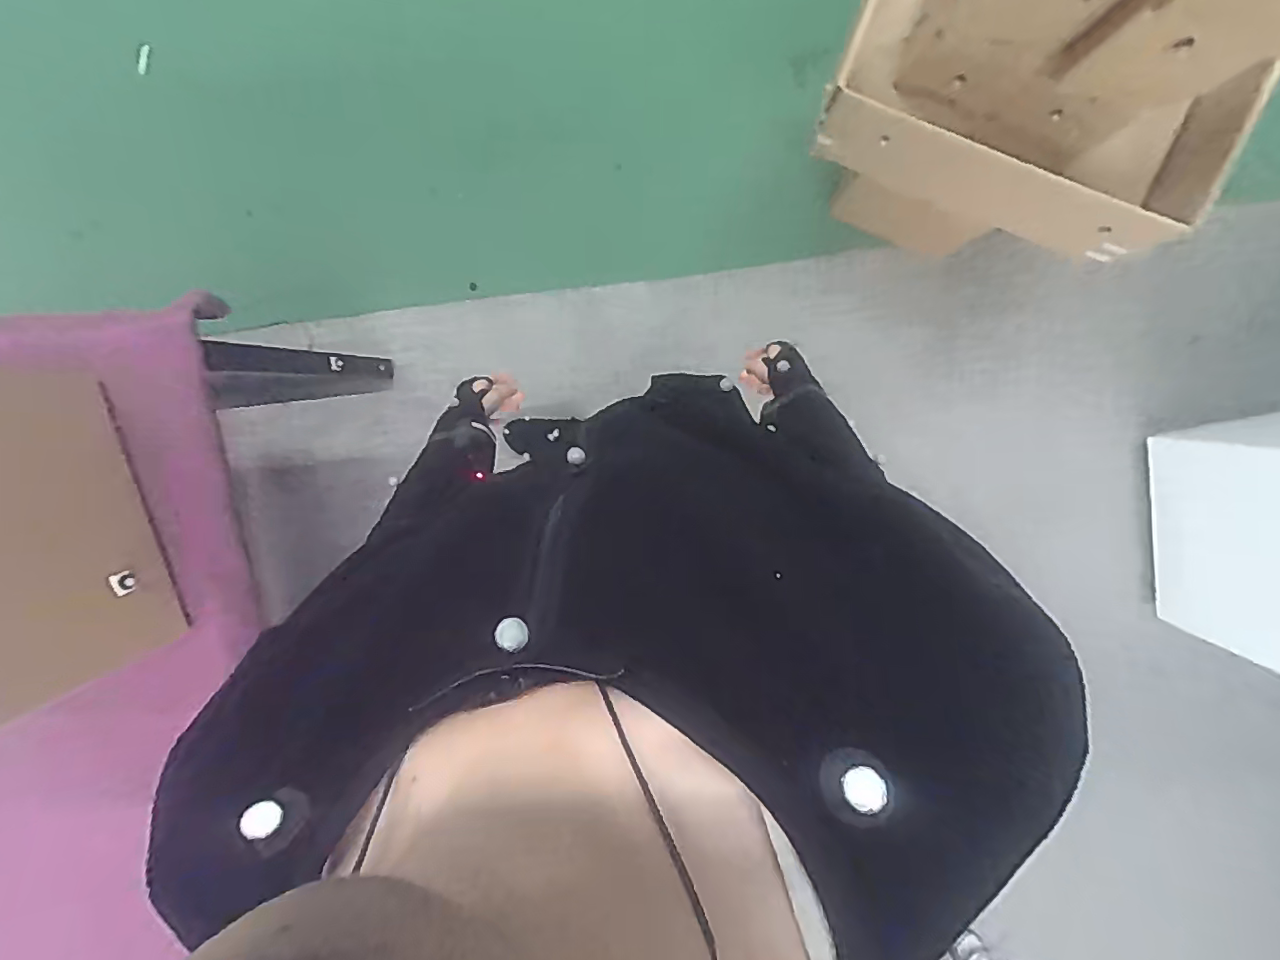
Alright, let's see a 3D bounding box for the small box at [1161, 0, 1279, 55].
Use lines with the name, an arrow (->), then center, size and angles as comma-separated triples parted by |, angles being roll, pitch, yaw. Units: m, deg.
small box -> 0.707, -0.584, 0.546 | 0.179, 0.176, 0.168 | 21, 100, 2
